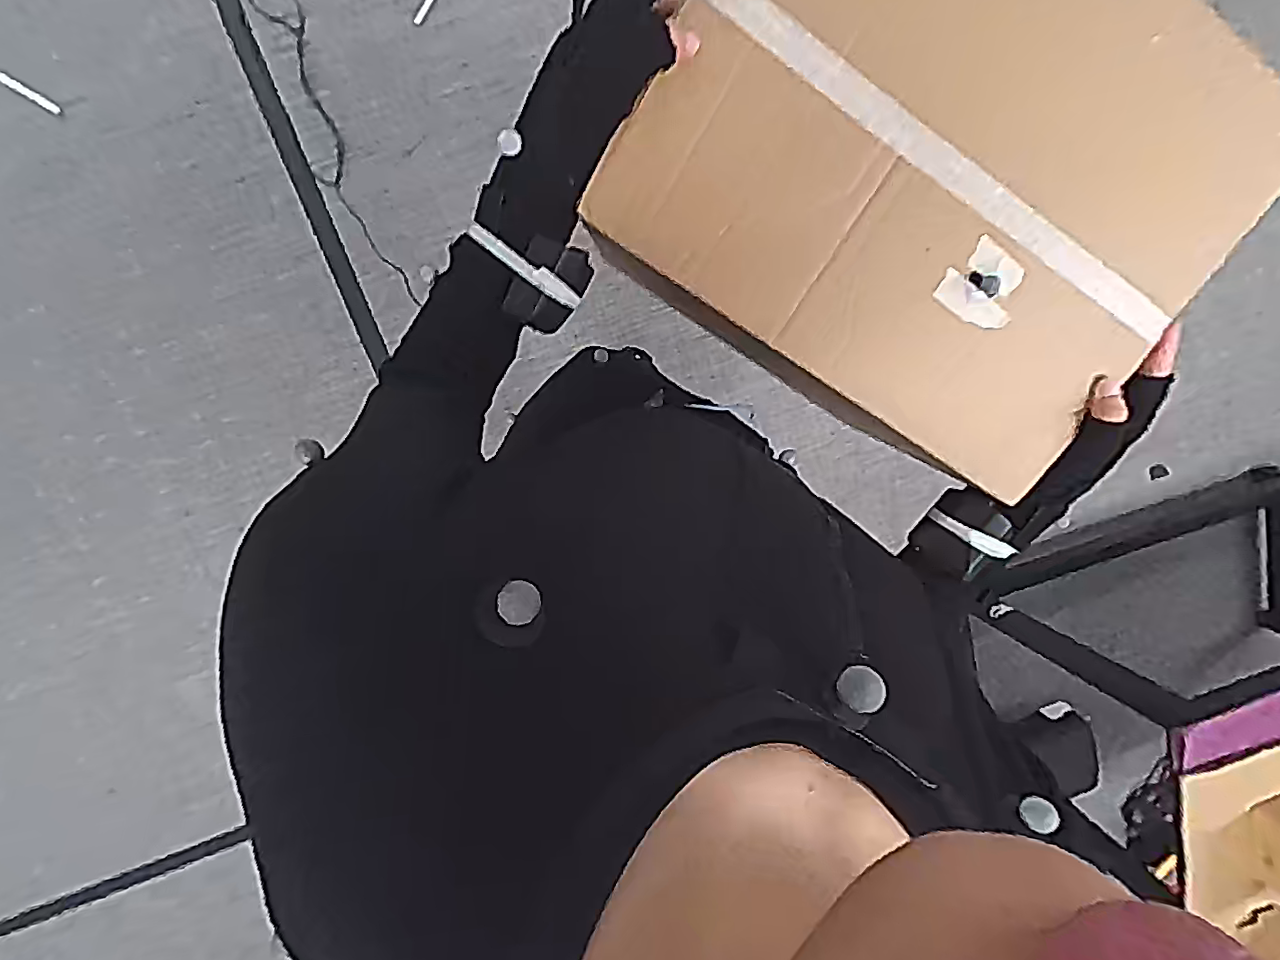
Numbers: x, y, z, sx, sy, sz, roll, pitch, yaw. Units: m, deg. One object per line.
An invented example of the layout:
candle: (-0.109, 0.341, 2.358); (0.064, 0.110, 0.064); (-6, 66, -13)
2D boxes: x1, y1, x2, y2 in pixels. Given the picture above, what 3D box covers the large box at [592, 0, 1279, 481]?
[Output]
large box: (0.205, -0.262, 0.518); (0.408, 0.320, 0.320); (31, 106, -11)
